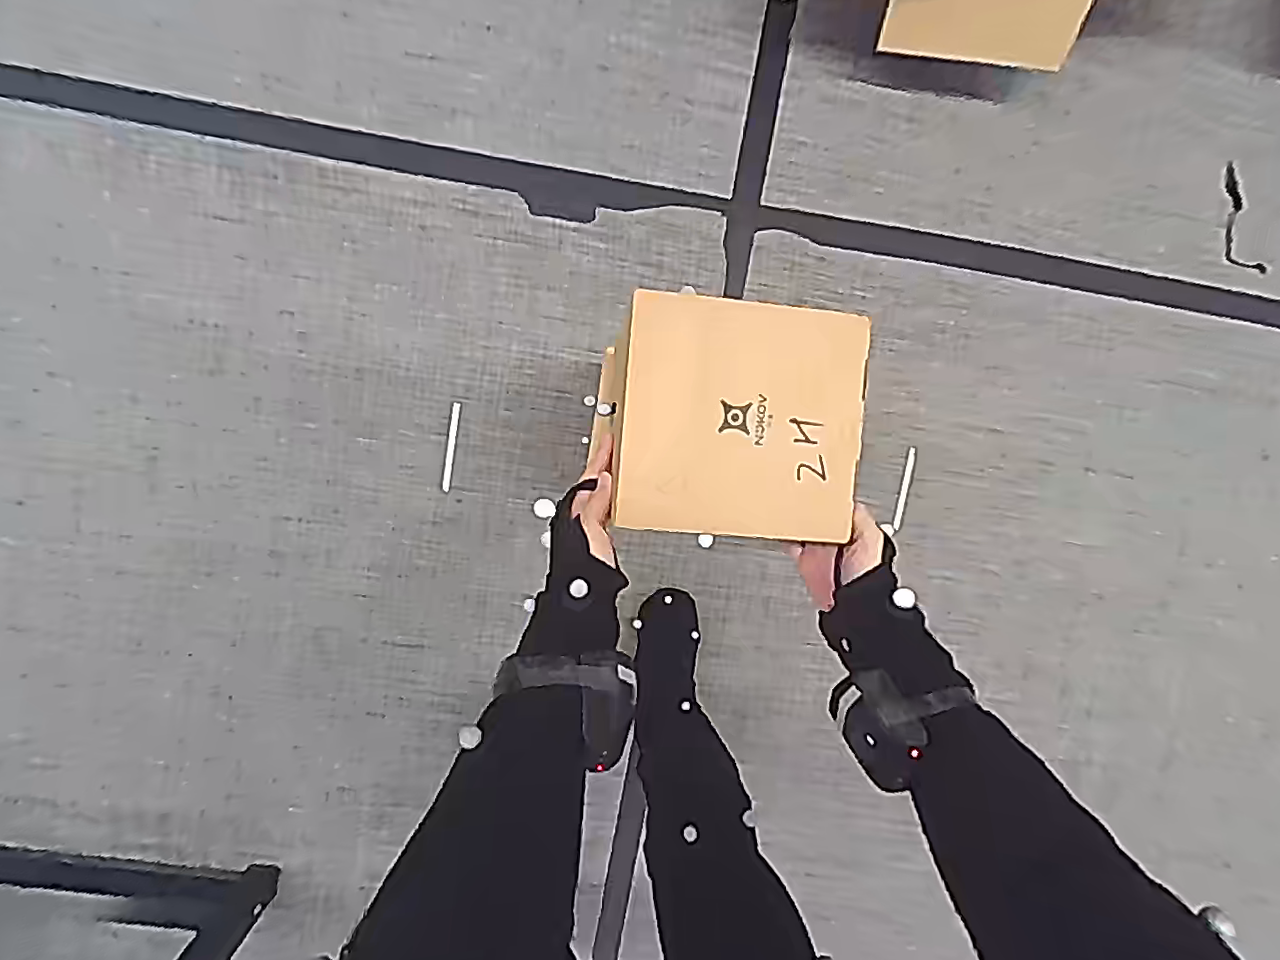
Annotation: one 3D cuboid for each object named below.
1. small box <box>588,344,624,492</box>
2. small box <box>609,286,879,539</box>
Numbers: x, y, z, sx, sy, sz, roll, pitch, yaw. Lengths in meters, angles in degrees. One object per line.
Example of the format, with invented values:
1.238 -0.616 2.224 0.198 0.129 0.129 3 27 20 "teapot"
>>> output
0.032 -0.064 0.680 0.179 0.176 0.168 9 96 -7 "small box"
0.069 -0.048 0.456 0.179 0.176 0.168 4 93 -7 "small box"
